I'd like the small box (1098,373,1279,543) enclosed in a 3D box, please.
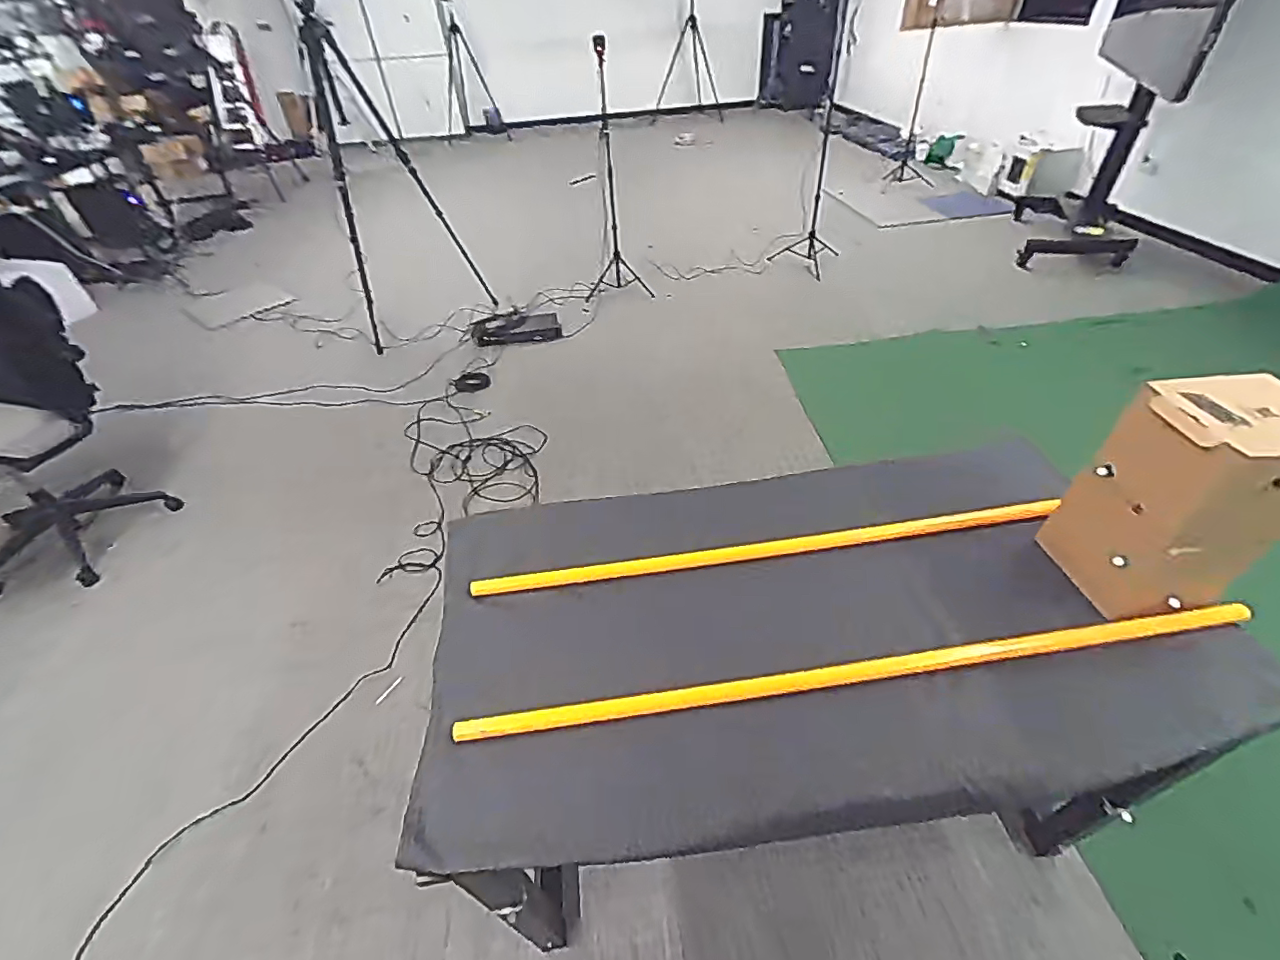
[{"bbox_3d":[0.788,-0.028,0.744,0.179,0.176,0.168,-4,43,0],"label":"small box"}]
